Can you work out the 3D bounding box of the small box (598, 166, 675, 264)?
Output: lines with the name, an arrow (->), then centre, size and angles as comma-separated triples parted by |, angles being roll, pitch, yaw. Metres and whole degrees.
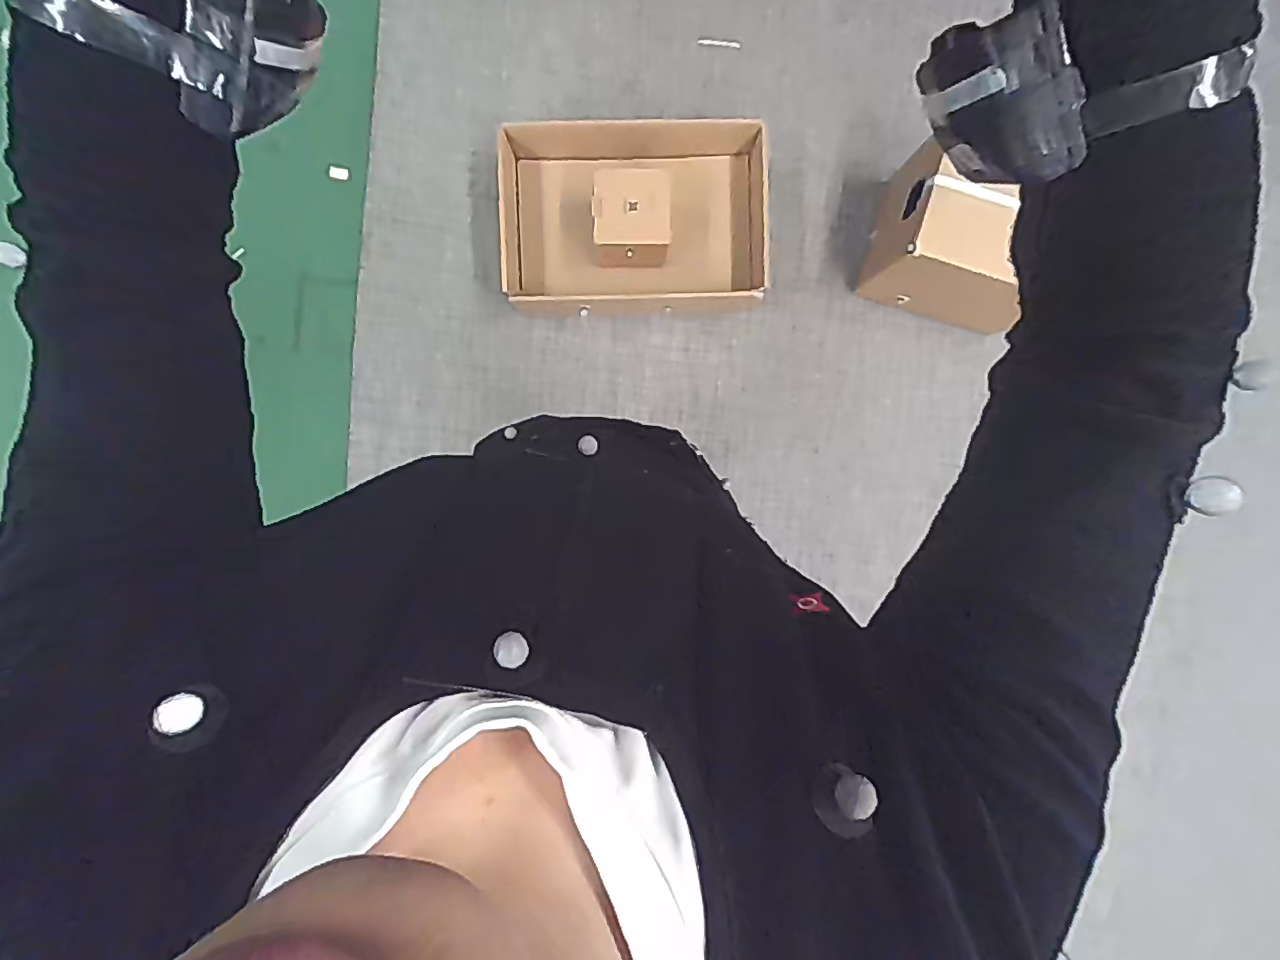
small box -> -0.009, -0.630, 1.301 | 0.179, 0.176, 0.168 | -1, 94, -2
